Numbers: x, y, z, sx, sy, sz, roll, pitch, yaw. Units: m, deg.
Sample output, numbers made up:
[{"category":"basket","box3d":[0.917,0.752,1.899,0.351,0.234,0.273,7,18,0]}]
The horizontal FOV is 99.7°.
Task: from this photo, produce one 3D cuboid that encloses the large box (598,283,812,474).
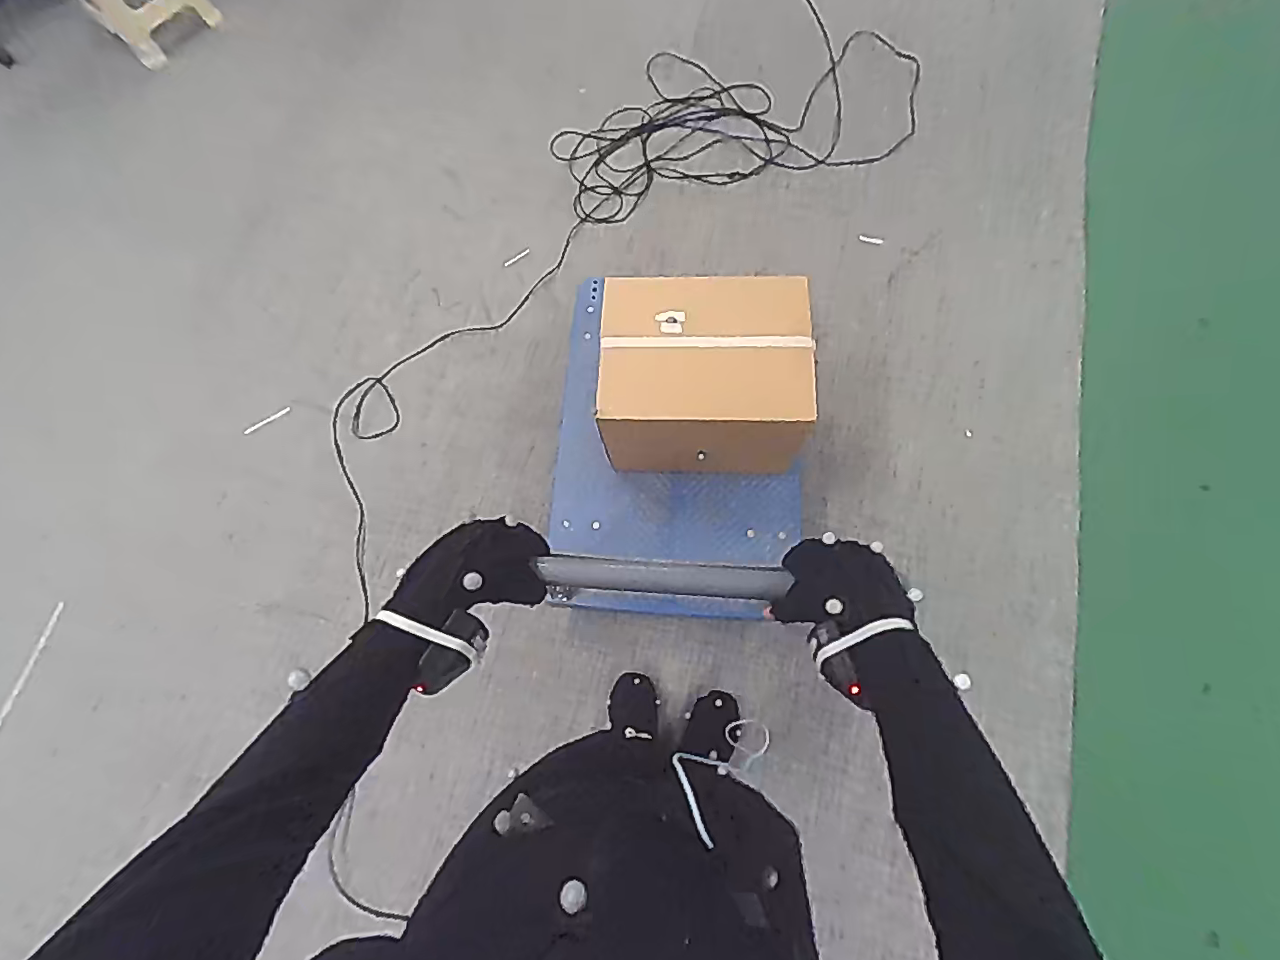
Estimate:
[{"category":"large box","box3d":[0.136,-0.201,1.188,0.408,0.320,0.320,0,72,6]}]
